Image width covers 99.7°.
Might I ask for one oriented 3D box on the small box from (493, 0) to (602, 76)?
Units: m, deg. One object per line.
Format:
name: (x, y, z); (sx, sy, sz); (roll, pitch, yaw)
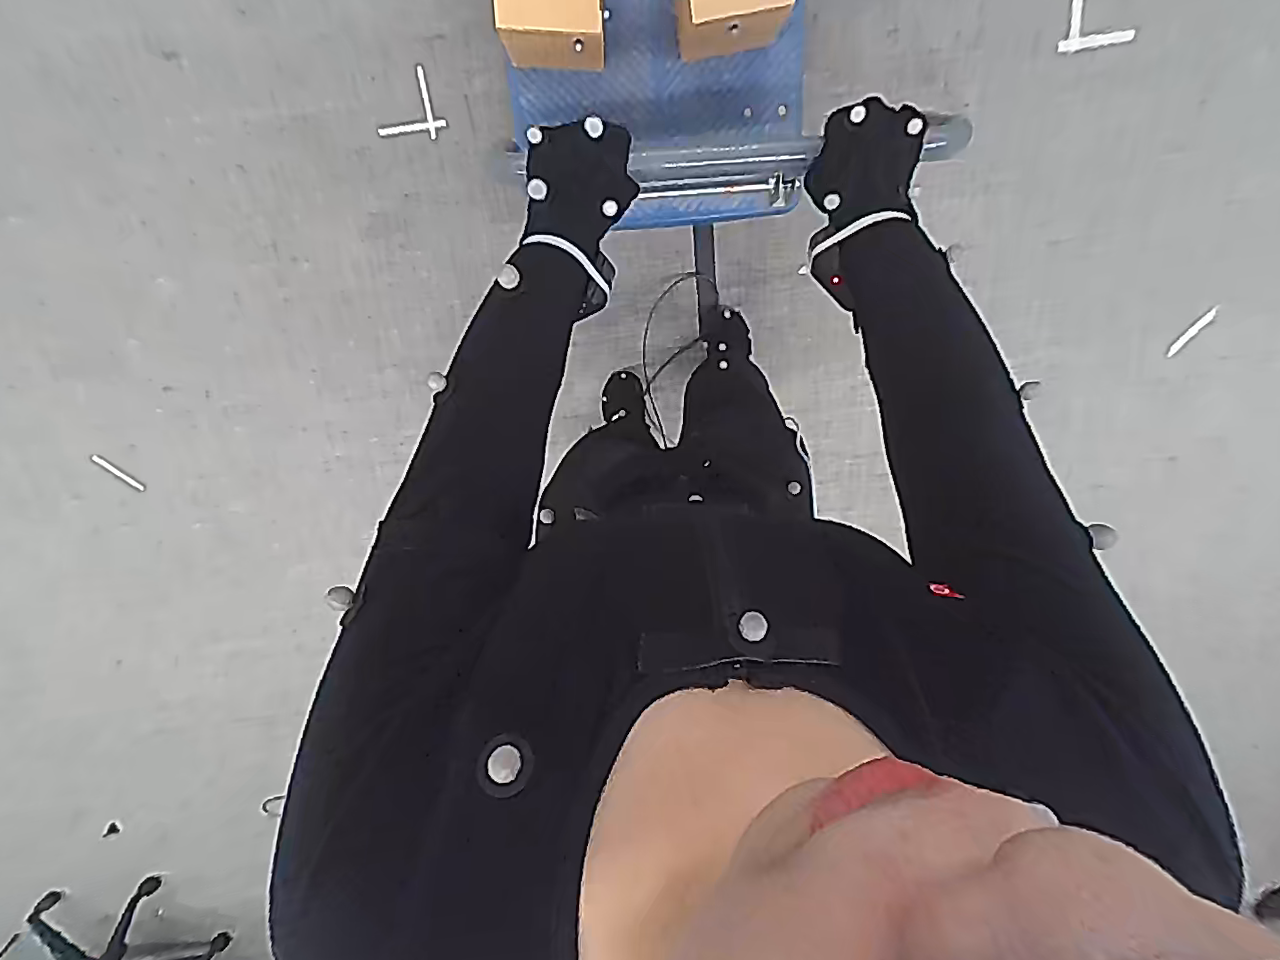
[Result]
small box: (-0.156, -0.835, 0.944); (0.179, 0.176, 0.168); (-1, 109, -4)

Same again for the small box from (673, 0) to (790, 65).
small box: (0.150, -0.865, 0.949); (0.179, 0.176, 0.168); (-10, 110, 1)
